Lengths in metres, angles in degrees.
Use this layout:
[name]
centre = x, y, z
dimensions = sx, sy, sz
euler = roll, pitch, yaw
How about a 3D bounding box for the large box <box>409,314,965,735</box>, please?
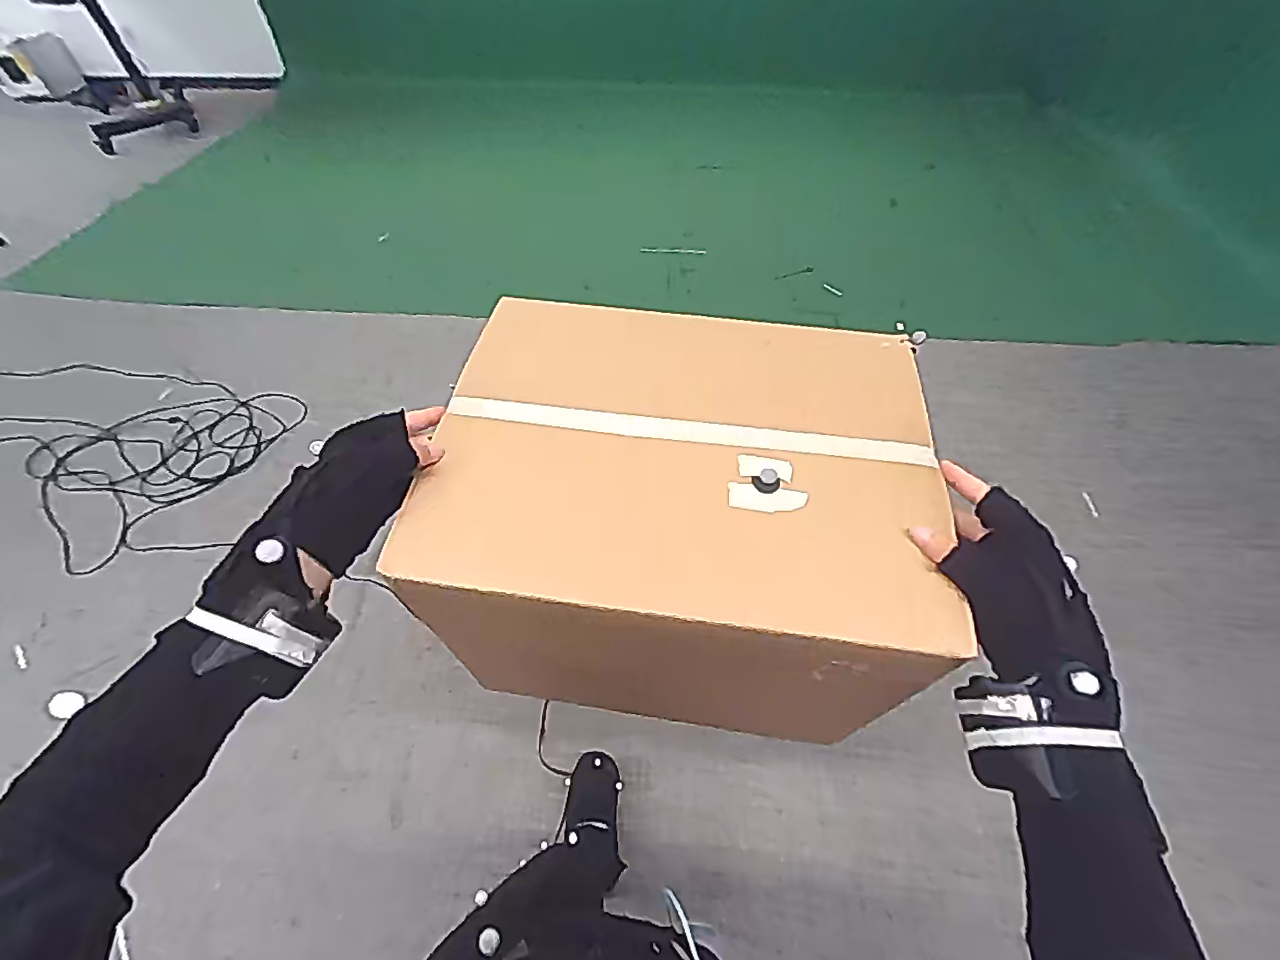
[large box]
centre = 0.041, 0.057, 0.584
dimensions = 0.408, 0.320, 0.320
euler = 7, 55, 4
